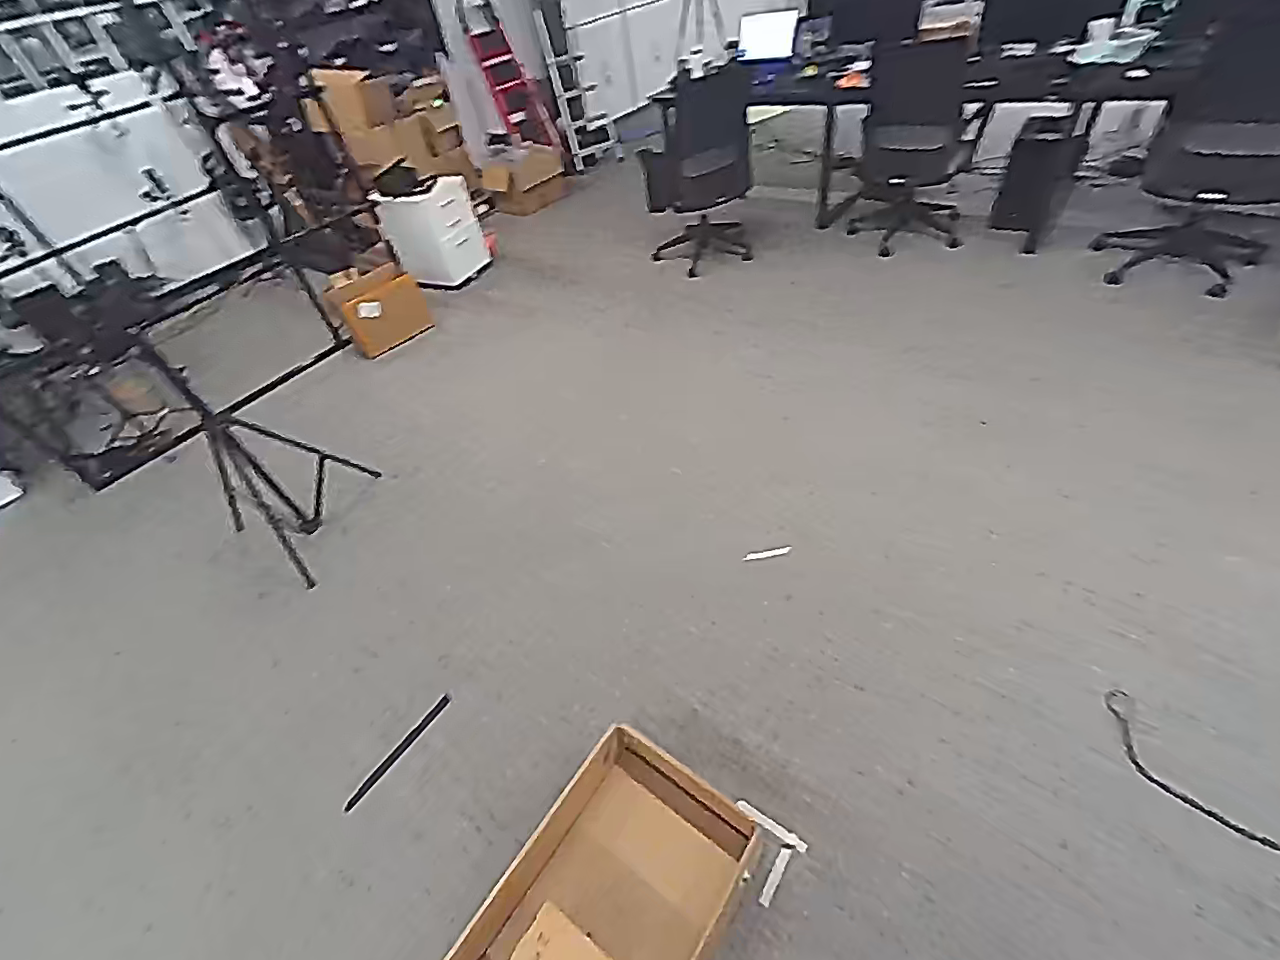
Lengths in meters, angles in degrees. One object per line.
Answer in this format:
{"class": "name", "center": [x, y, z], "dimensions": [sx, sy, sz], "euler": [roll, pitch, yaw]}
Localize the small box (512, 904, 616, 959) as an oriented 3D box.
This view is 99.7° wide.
{"class": "small box", "center": [-0.145, 0.966, 1.035], "dimensions": [0.179, 0.176, 0.168], "euler": [21, 52, 30]}
